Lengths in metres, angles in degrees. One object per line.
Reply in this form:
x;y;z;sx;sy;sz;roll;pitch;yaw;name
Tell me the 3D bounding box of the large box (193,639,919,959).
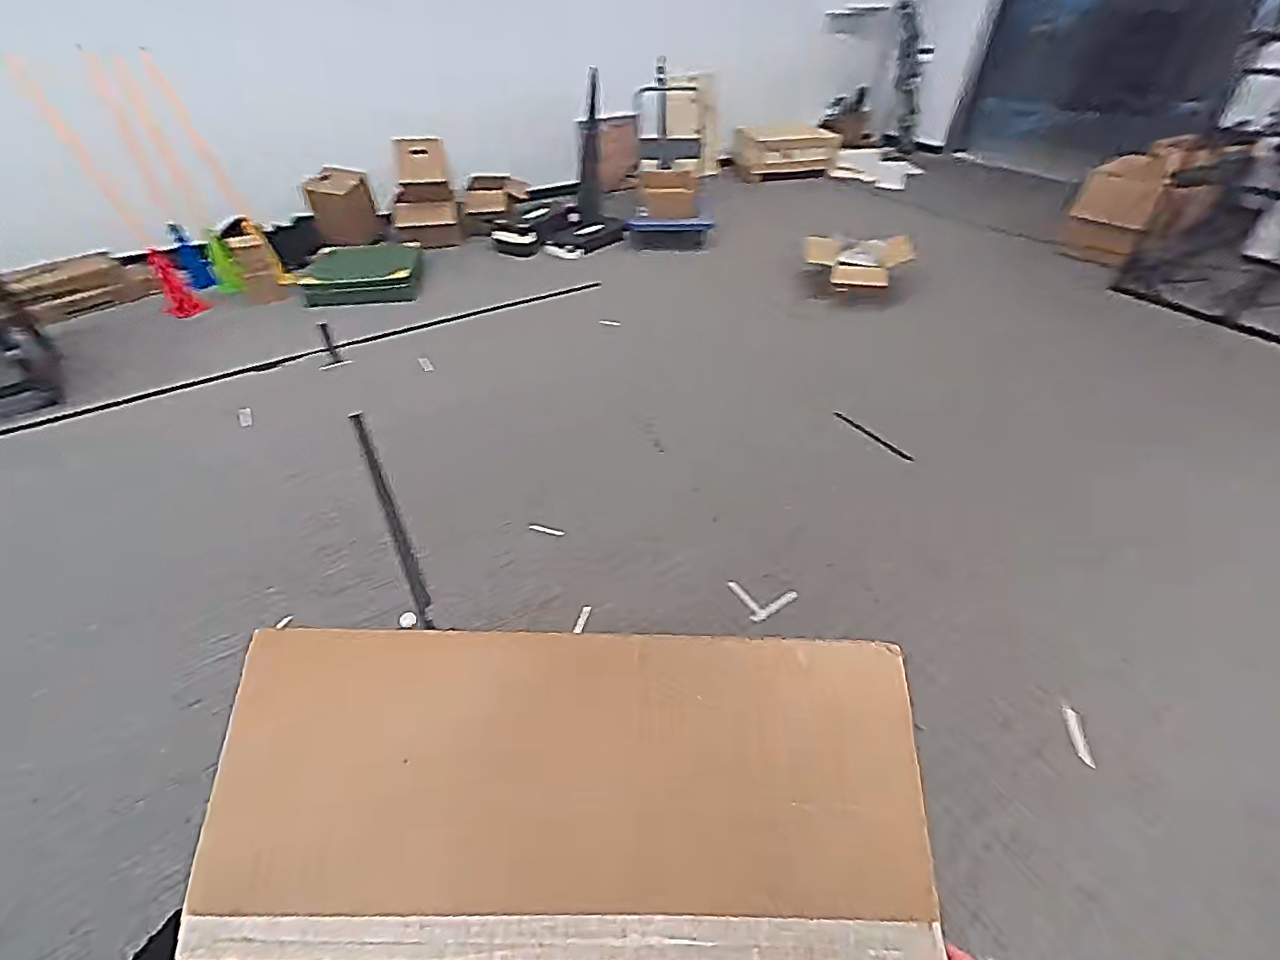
-0.048;0.303;0.438;0.408;0.320;0.320;0;71;-1;large box
